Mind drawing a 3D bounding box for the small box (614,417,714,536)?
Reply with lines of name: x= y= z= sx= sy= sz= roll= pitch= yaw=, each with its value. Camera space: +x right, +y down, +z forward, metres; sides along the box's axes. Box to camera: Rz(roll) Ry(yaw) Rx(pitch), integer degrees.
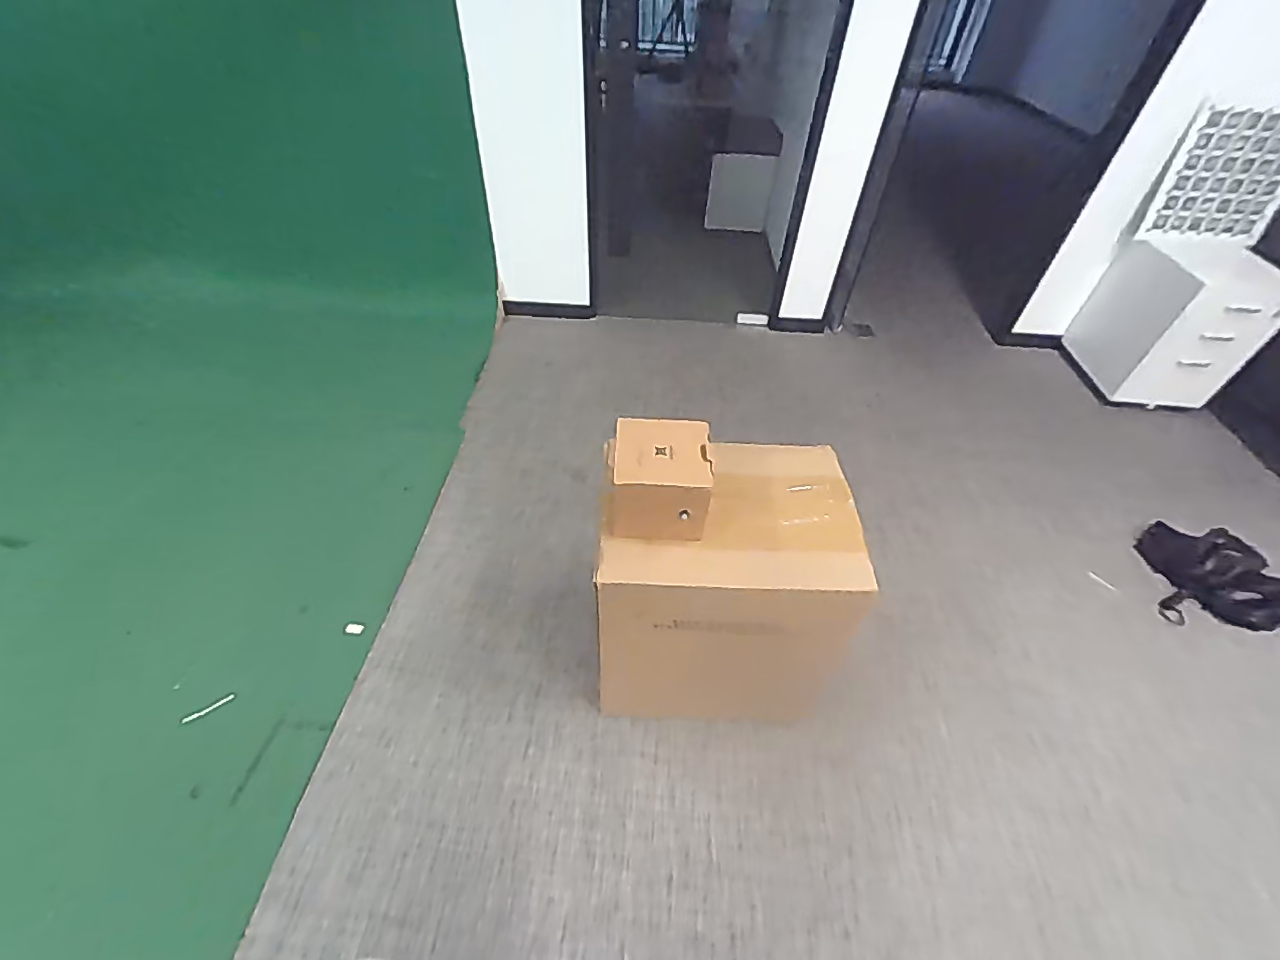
small box: x=0.042 y=-0.003 z=1.049 sx=0.179 sy=0.176 sz=0.168 roll=1 pitch=50 yaw=0
